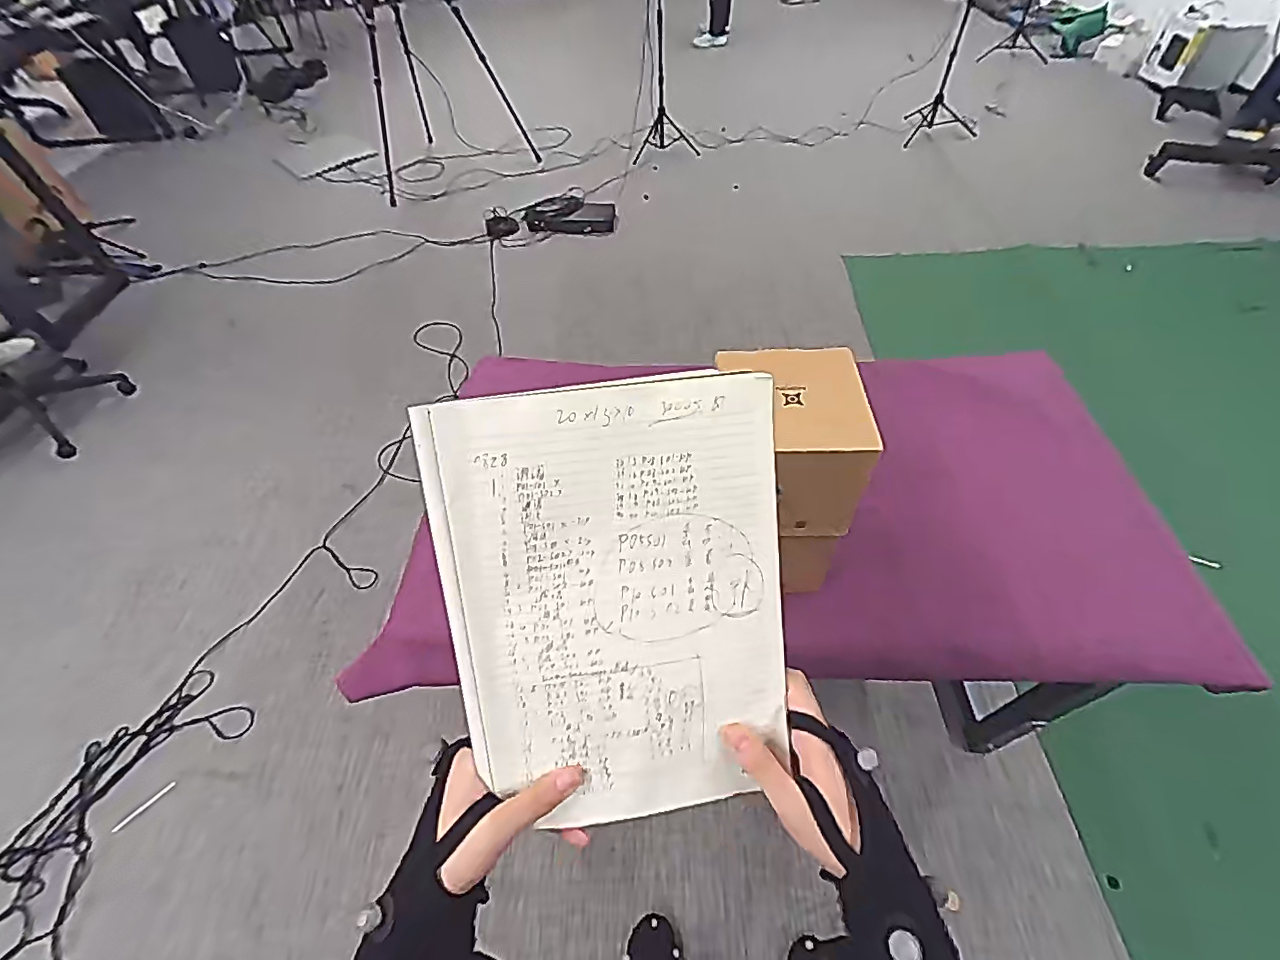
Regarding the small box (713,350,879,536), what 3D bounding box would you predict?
[{"bbox_3d":[0.180,-0.042,0.684,0.168,0.176,0.179,0,50,4],"label":"small box"}]
